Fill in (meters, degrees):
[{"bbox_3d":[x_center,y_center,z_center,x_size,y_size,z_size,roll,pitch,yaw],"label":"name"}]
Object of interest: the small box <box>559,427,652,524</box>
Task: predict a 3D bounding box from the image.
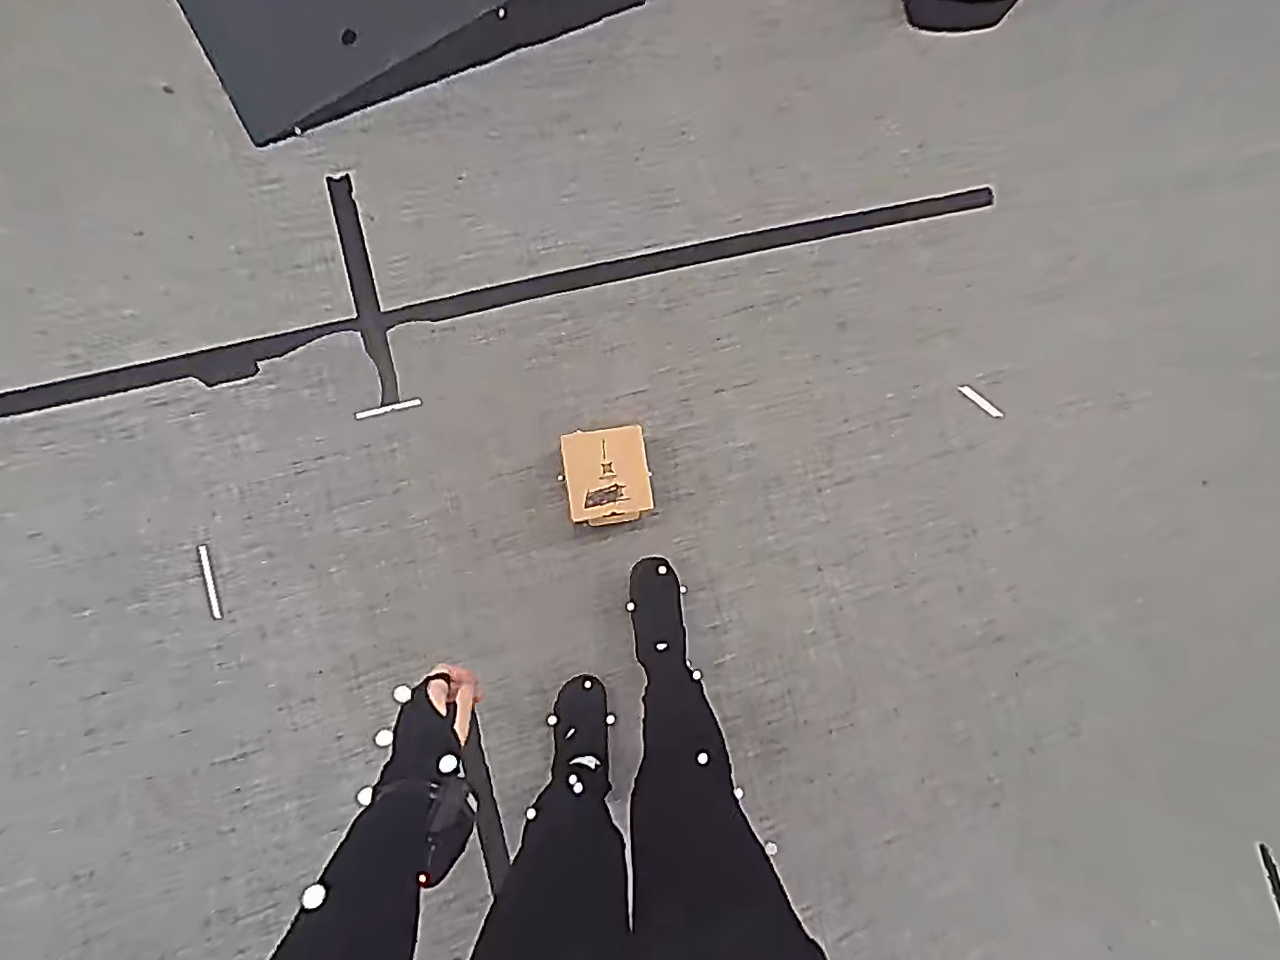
[{"bbox_3d":[-0.077,-0.003,1.139,0.168,0.176,0.179,-8,85,-9],"label":"small box"}]
